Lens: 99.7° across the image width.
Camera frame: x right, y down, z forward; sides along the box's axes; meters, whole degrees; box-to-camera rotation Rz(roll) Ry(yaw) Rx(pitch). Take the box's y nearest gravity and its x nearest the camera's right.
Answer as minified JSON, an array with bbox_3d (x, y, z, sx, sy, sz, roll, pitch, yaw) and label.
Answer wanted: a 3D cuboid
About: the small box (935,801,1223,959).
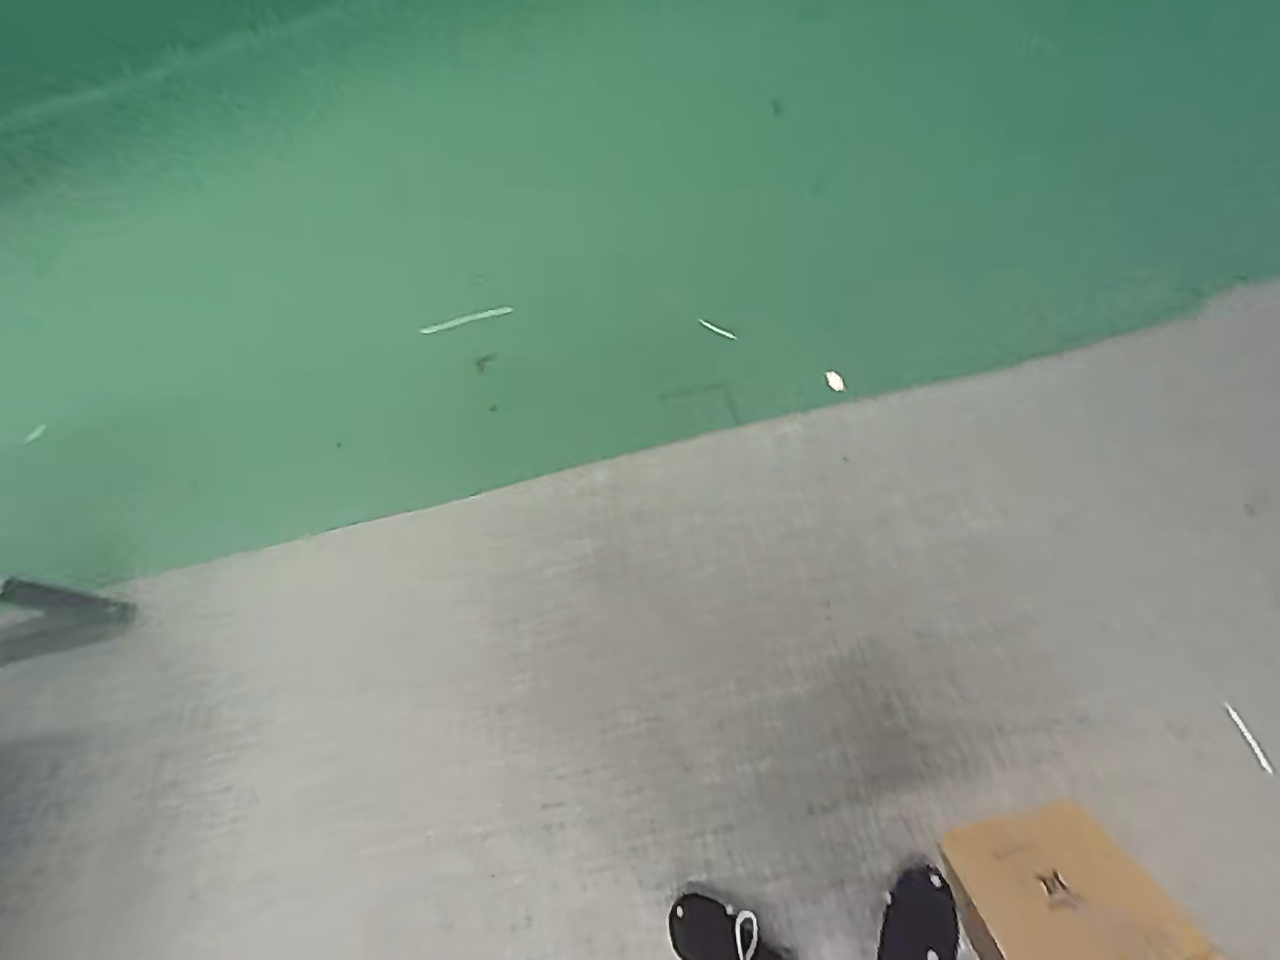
[{"bbox_3d":[0.443,0.483,0.553,0.168,0.179,0.176,-19,101,5],"label":"small box"}]
